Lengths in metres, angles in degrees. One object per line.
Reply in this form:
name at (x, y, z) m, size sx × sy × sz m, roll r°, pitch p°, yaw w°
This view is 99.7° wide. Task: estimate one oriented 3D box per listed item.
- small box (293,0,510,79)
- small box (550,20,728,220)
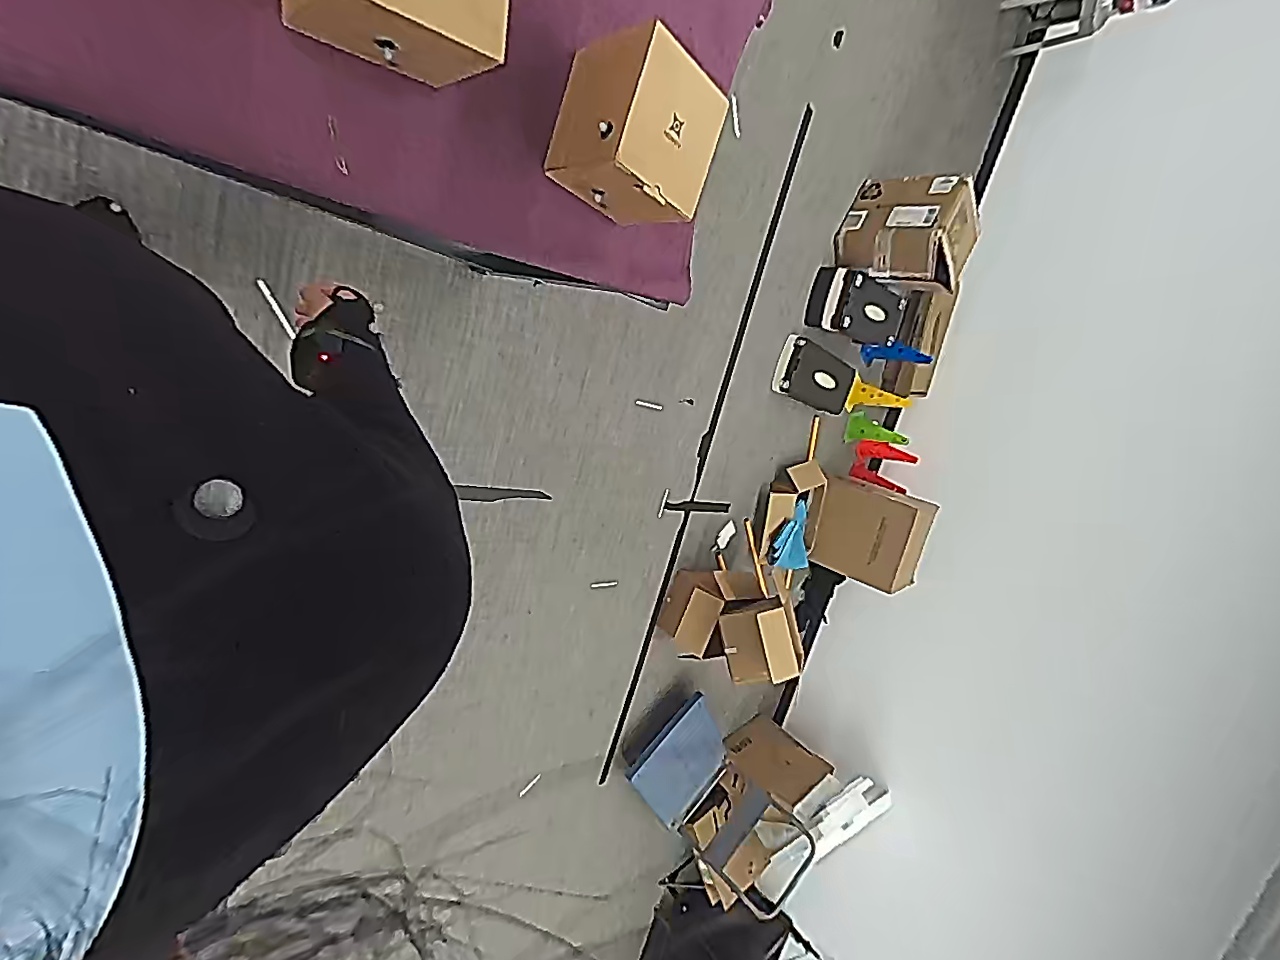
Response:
small box at (-0.239, -0.534, 0.534) m, size 0.168 × 0.176 × 0.179 m, roll -8°, pitch 115°, yaw -44°
small box at (-0.006, -0.503, 0.788) m, size 0.168 × 0.176 × 0.179 m, roll 10°, pitch 101°, yaw -47°
